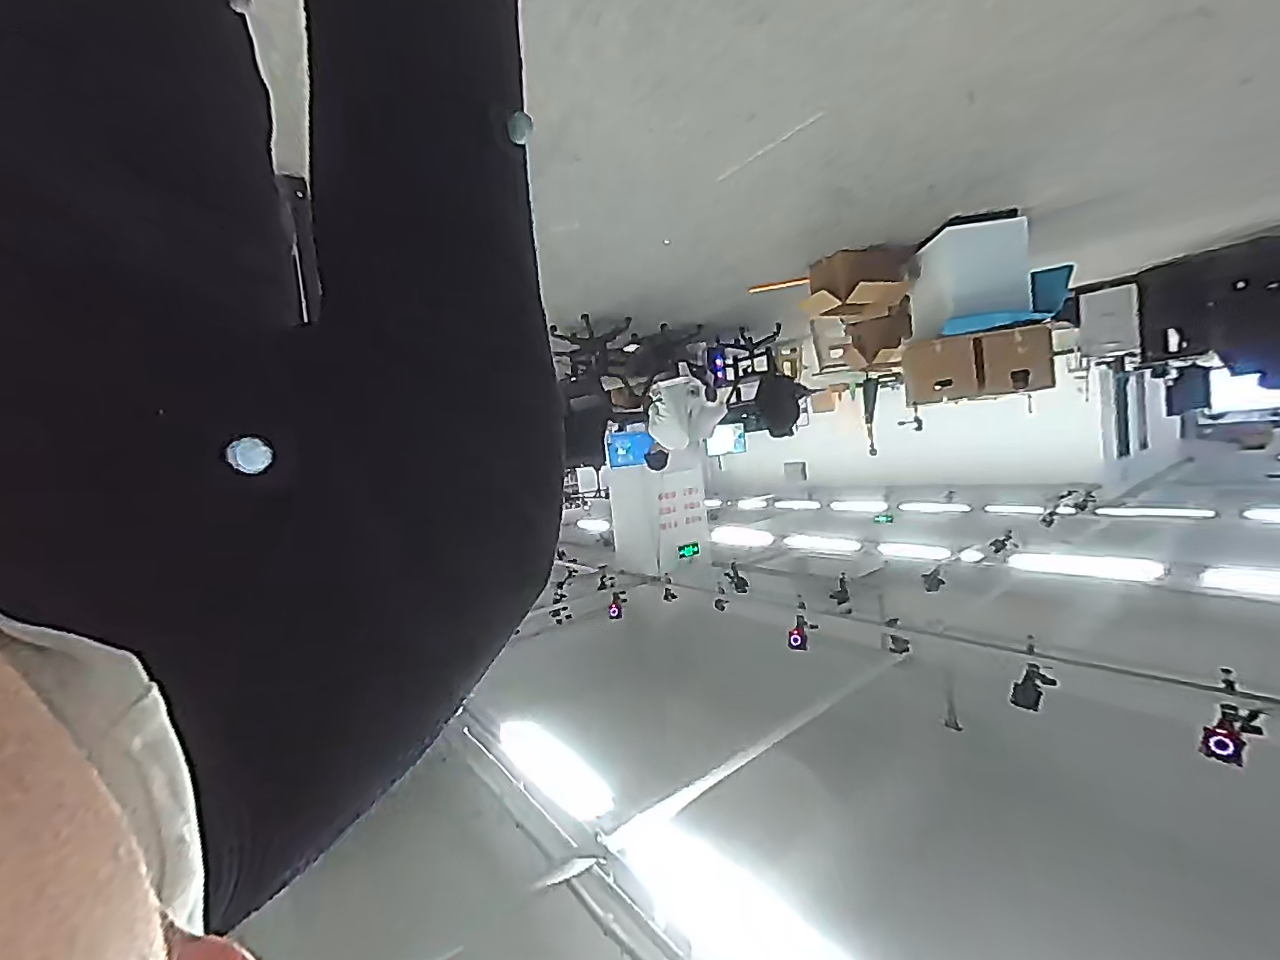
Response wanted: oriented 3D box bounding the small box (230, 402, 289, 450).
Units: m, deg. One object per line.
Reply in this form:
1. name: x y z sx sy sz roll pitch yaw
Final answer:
1. small box: -1.465 -0.210 2.078 0.168 0.176 0.179 -8 -176 -37
